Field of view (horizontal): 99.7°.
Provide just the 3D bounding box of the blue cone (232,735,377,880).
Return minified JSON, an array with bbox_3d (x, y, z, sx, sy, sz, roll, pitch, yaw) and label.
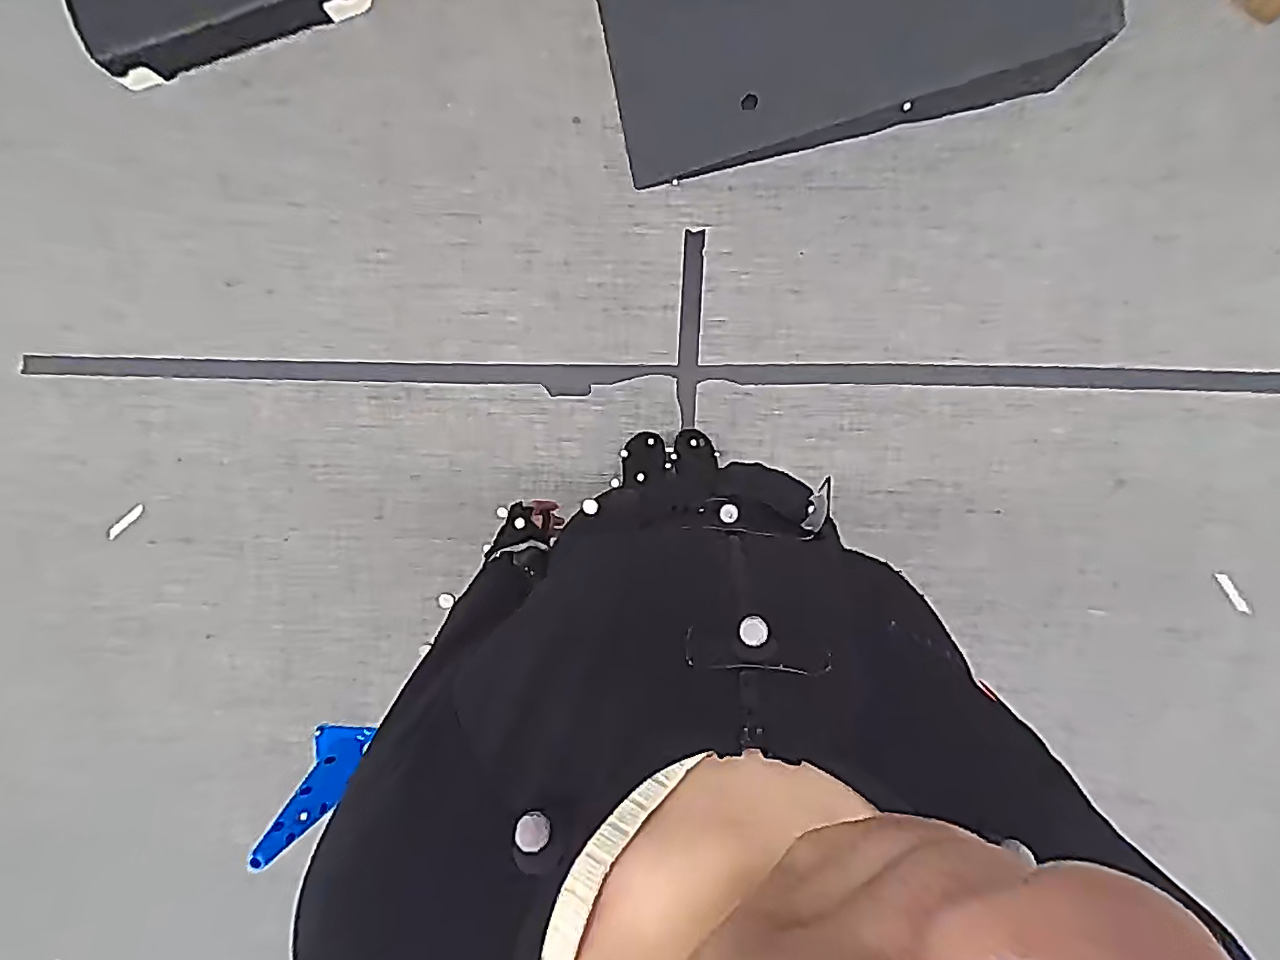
[{"bbox_3d":[-0.835,0.819,1.340,0.192,0.380,0.193,3,97,3],"label":"blue cone"}]
